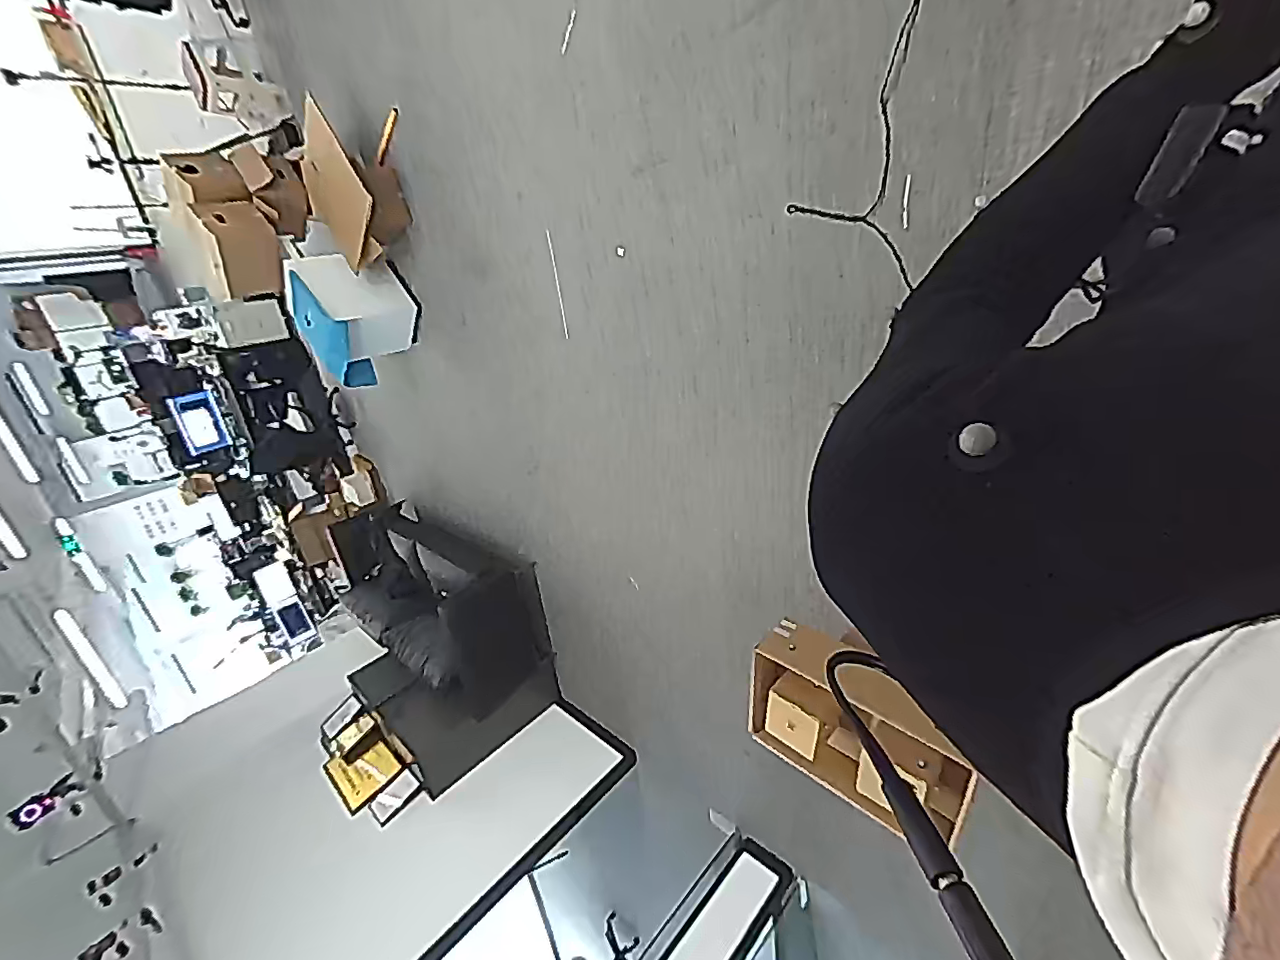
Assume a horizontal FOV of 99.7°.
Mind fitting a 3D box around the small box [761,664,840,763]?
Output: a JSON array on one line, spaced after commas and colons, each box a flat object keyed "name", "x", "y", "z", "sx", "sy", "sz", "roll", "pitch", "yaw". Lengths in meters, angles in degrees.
[{"name": "small box", "x": 0.488, "y": 0.704, "z": 1.646, "sx": 0.168, "sy": 0.176, "sz": 0.179, "roll": 23, "pitch": 125, "yaw": 38}]
